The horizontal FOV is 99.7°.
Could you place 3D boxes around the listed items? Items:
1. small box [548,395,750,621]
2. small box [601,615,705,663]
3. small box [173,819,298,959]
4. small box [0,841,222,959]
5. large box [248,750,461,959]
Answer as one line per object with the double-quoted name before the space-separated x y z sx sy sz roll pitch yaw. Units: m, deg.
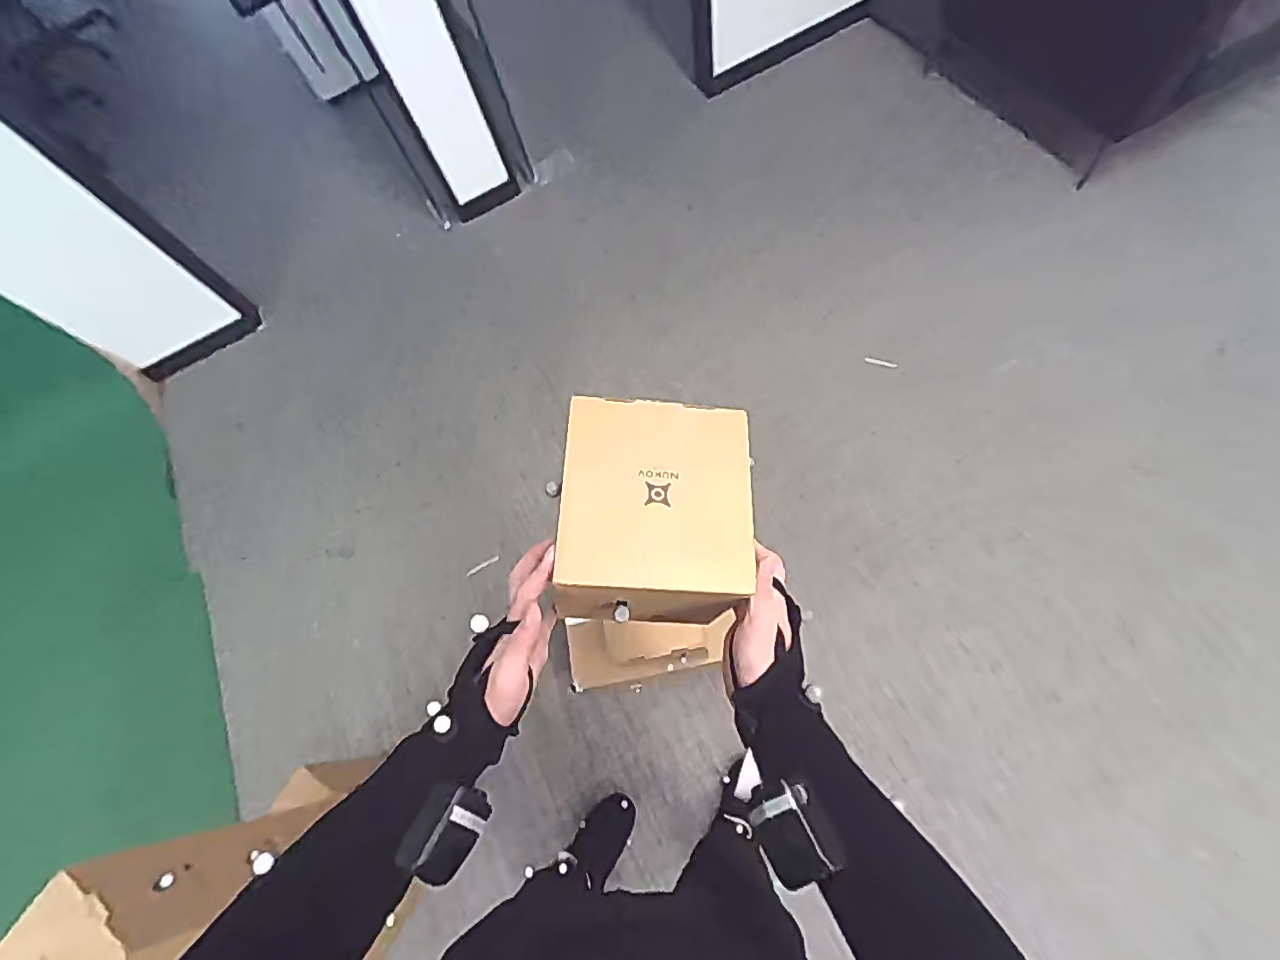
"small box" 0.004 0.039 0.534 0.168 0.176 0.179 4 66 -5
"small box" 0.023 0.234 0.992 0.168 0.176 0.179 -12 67 4
"small box" -0.722 0.713 0.911 0.168 0.176 0.179 29 75 19
"small box" -0.743 0.652 0.760 0.168 0.176 0.179 30 74 19
"large box" -0.706 0.920 1.272 0.320 0.320 0.408 24 75 19
